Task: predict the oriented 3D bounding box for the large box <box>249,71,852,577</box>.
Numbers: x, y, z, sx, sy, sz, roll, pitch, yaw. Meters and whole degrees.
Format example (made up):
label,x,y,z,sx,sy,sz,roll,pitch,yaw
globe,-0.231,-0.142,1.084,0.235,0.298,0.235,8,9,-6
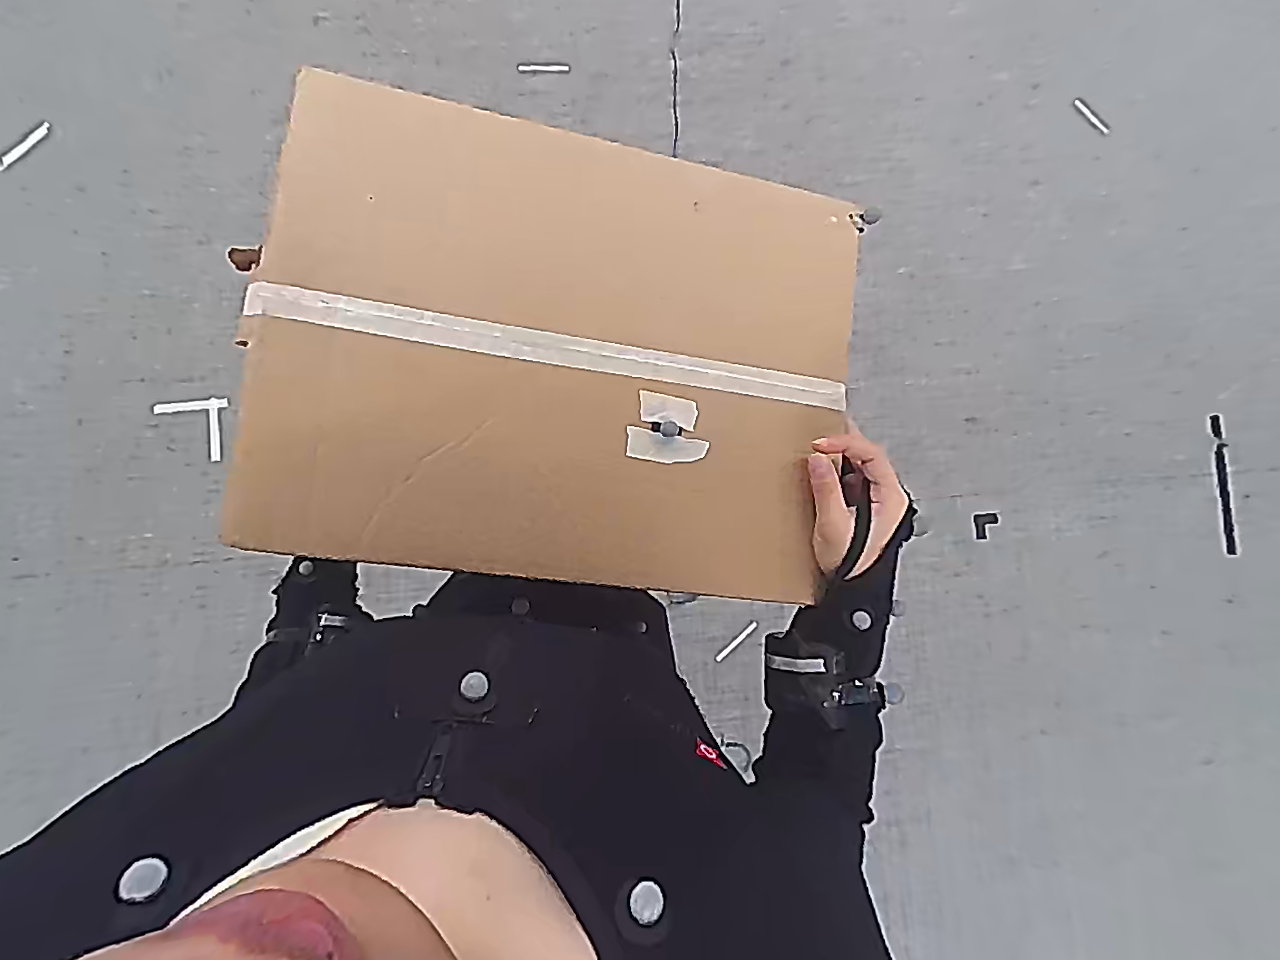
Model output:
label,x,y,z,sx,sy,sz,roll,pitch,yaw
large box,-0.069,-0.091,0.529,0.408,0.320,0.320,8,87,-12
